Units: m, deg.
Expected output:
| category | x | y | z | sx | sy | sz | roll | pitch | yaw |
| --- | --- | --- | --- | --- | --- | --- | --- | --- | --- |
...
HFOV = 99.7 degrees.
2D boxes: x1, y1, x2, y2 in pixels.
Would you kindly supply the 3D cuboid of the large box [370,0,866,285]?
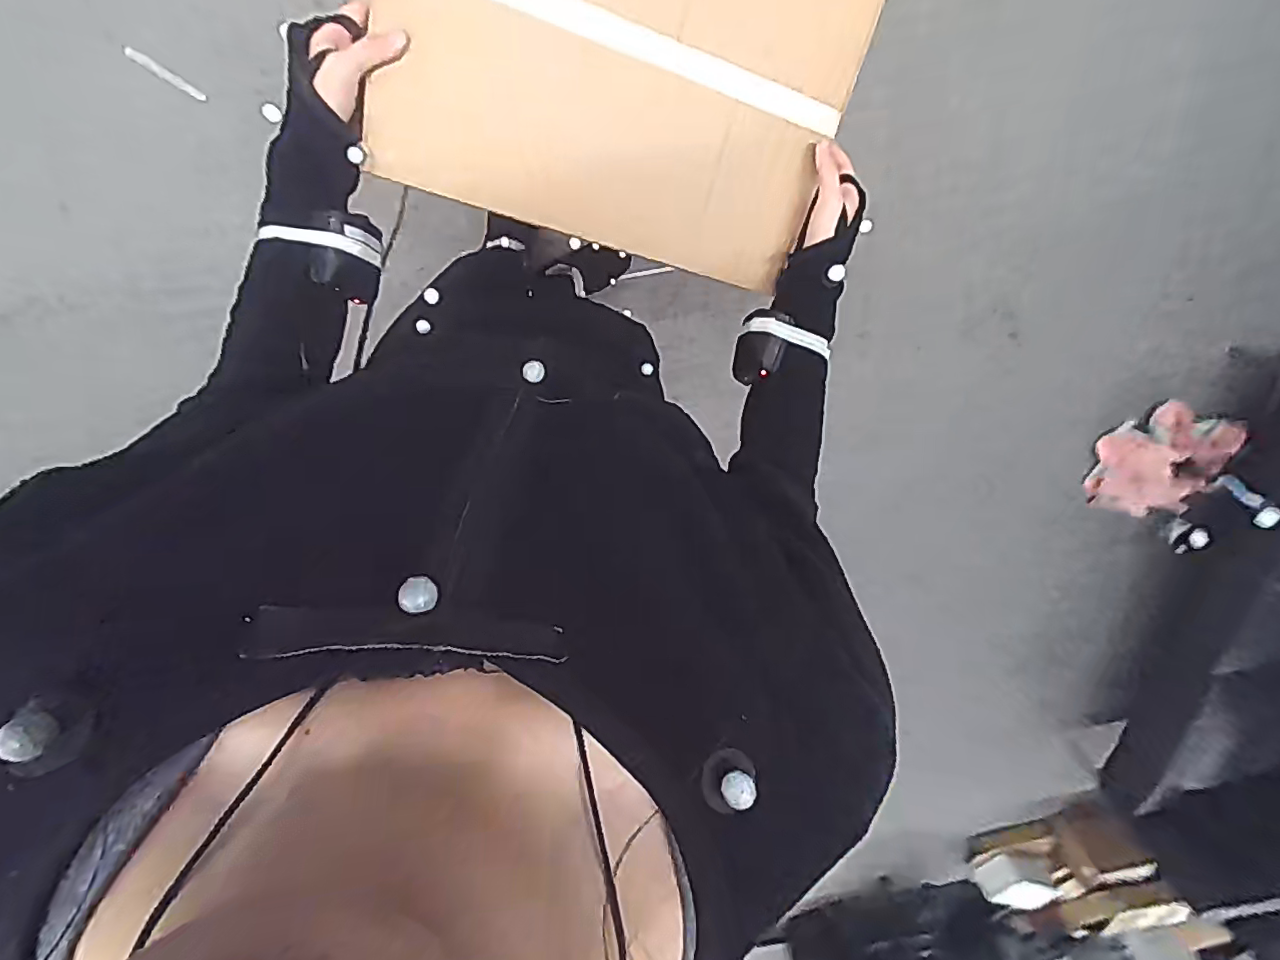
| category | x | y | z | sx | sy | sz | roll | pitch | yaw |
| --- | --- | --- | --- | --- | --- | --- | --- | --- | --- |
| large box | -0.036 | -0.438 | 0.598 | 0.408 | 0.320 | 0.320 | 10 | 114 | -16 |
